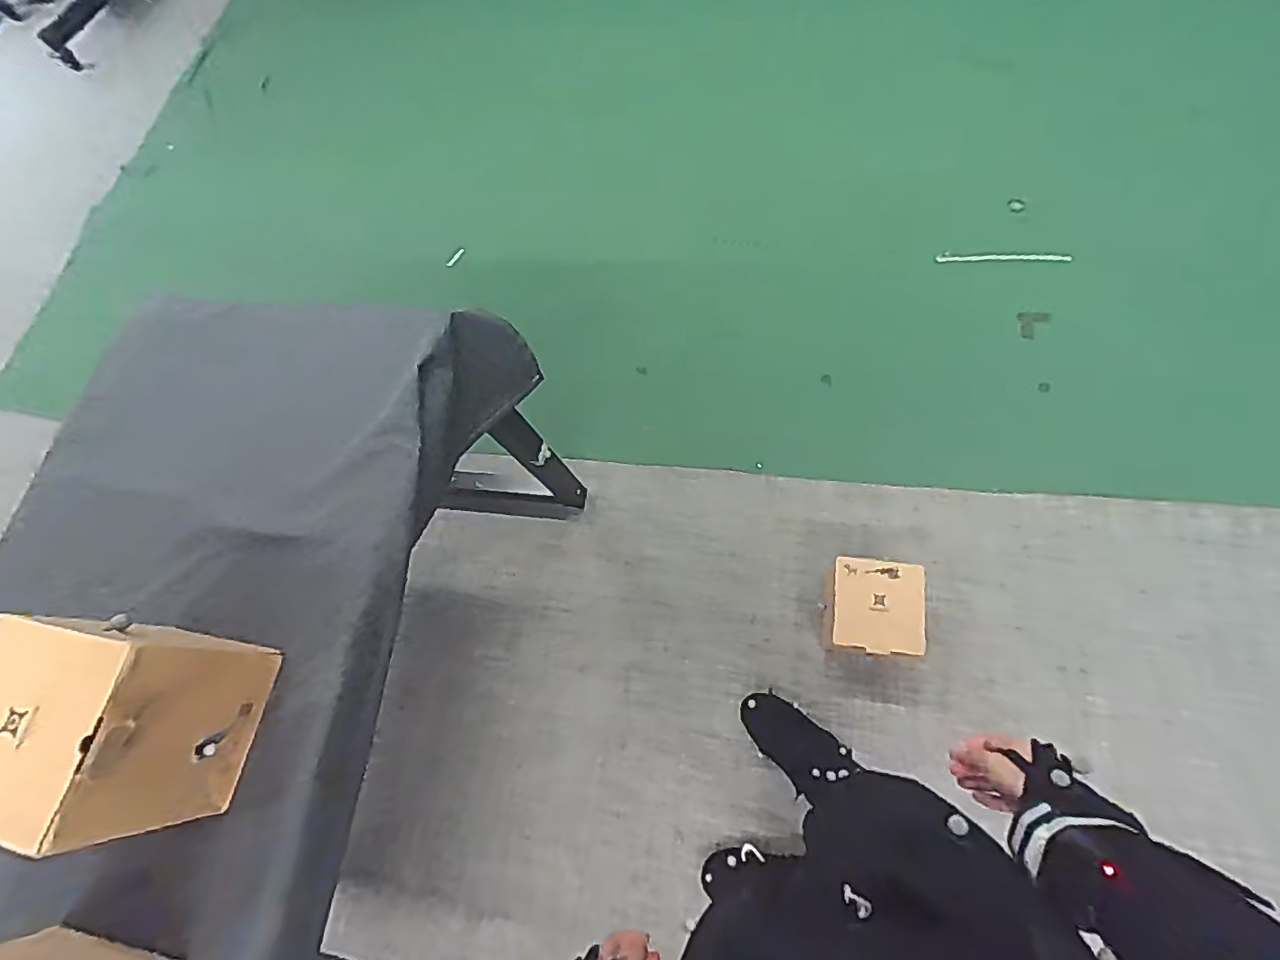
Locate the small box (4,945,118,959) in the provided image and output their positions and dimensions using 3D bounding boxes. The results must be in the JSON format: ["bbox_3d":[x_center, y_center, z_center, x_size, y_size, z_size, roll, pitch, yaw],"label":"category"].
[{"bbox_3d":[-0.542,0.517,0.433,0.179,0.176,0.168,3,70,12],"label":"small box"}]

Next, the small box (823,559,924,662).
[{"bbox_3d":[0.473,0.272,1.112,0.168,0.176,0.179,5,72,13],"label":"small box"}]

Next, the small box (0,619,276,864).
[{"bbox_3d":[-0.521,0.242,0.535,0.179,0.176,0.168,5,71,13],"label":"small box"}]
